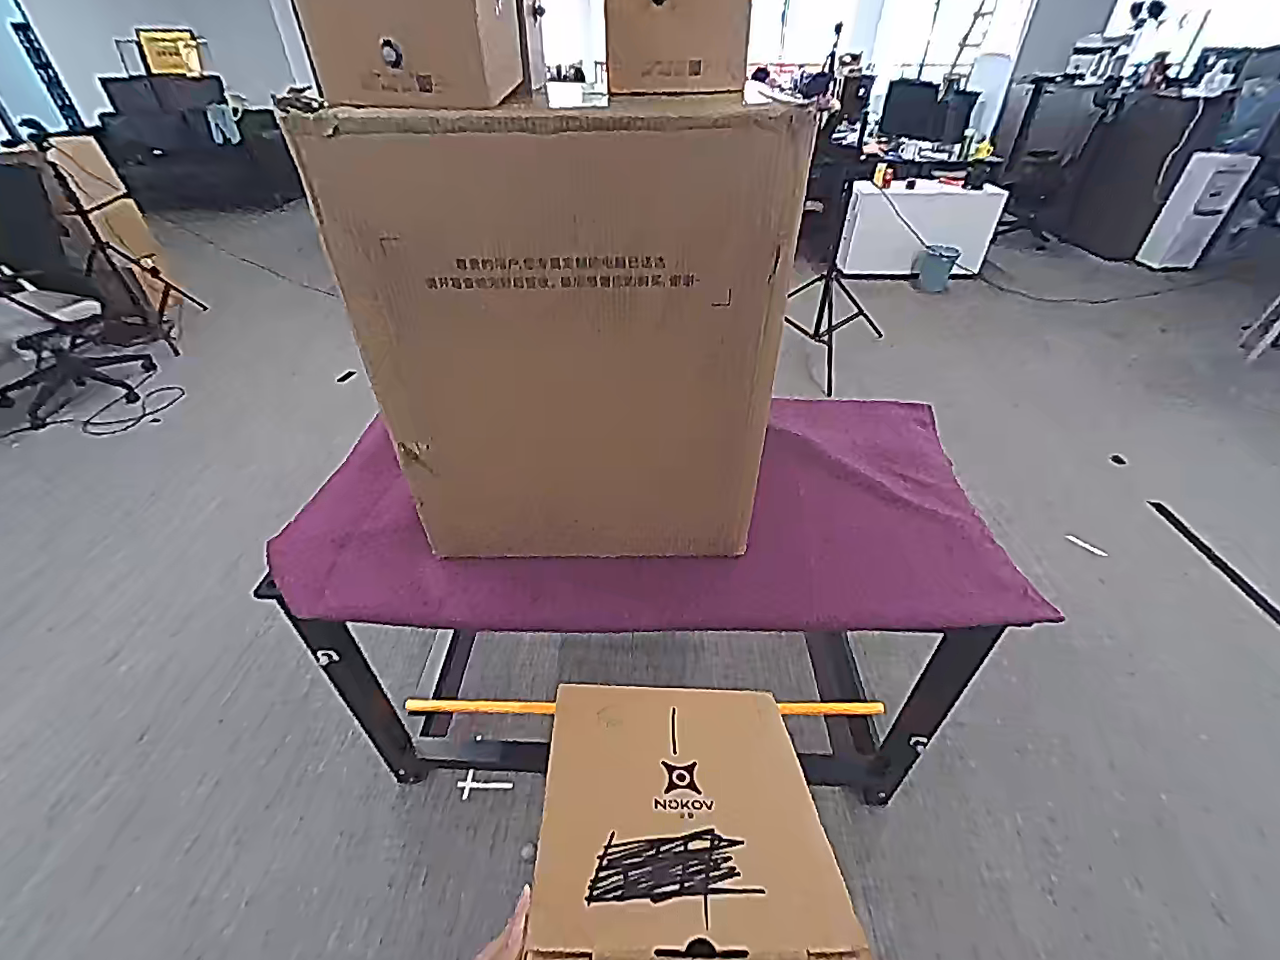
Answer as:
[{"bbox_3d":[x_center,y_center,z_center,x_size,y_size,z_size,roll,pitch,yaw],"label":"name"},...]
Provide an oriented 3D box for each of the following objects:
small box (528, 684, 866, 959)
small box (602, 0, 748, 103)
[{"bbox_3d":[0.021,0.264,0.359,0.168,0.176,0.179,4,21,-4],"label":"small box"},{"bbox_3d":[0.039,-0.571,0.666,0.168,0.176,0.179,-2,38,0],"label":"small box"}]
